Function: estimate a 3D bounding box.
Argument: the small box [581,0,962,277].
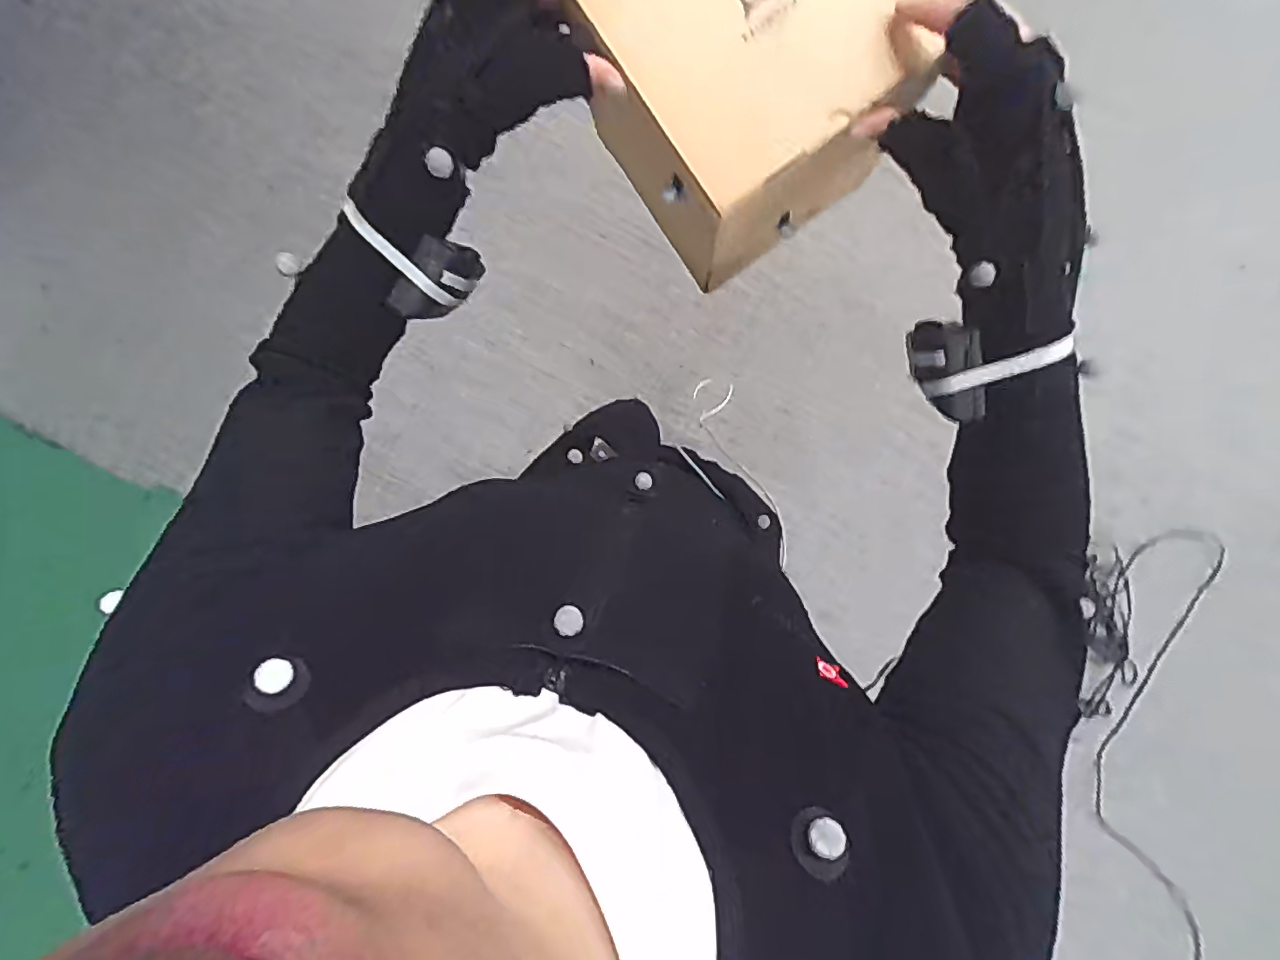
[{"bbox_3d":[0.075,-0.282,0.391,0.168,0.176,0.179,-34,92,6],"label":"small box"}]
